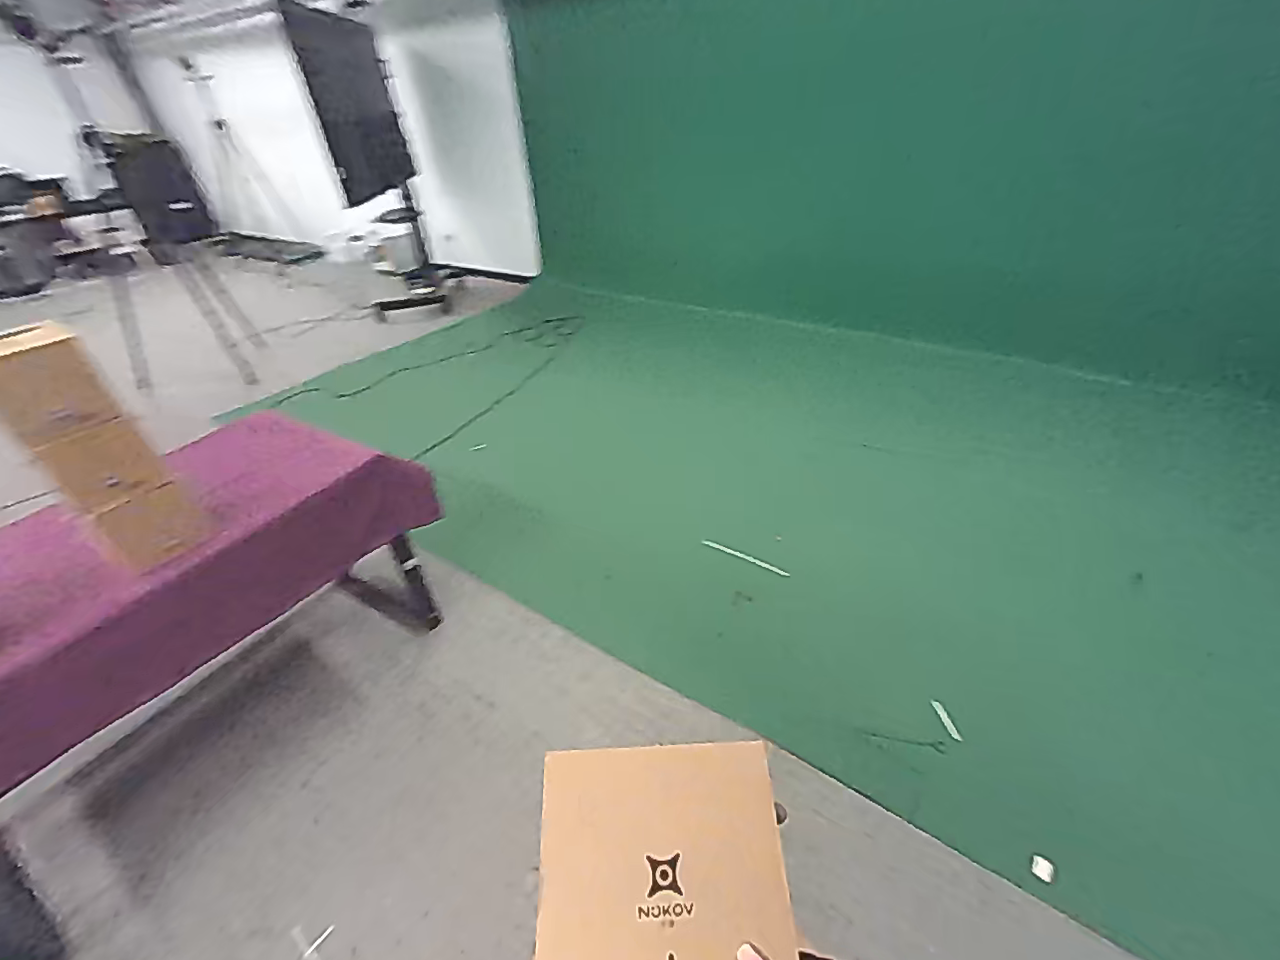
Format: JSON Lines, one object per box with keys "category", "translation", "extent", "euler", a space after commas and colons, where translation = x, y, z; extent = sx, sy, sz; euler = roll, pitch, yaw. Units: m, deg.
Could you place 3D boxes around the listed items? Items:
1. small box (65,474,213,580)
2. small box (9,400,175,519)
{"category": "small box", "translation": [-1.117, 0.090, 1.223], "extent": [0.168, 0.176, 0.179], "euler": [18, 41, 29]}
{"category": "small box", "translation": [-1.137, -0.044, 1.132], "extent": [0.179, 0.176, 0.168], "euler": [20, 42, 28]}
